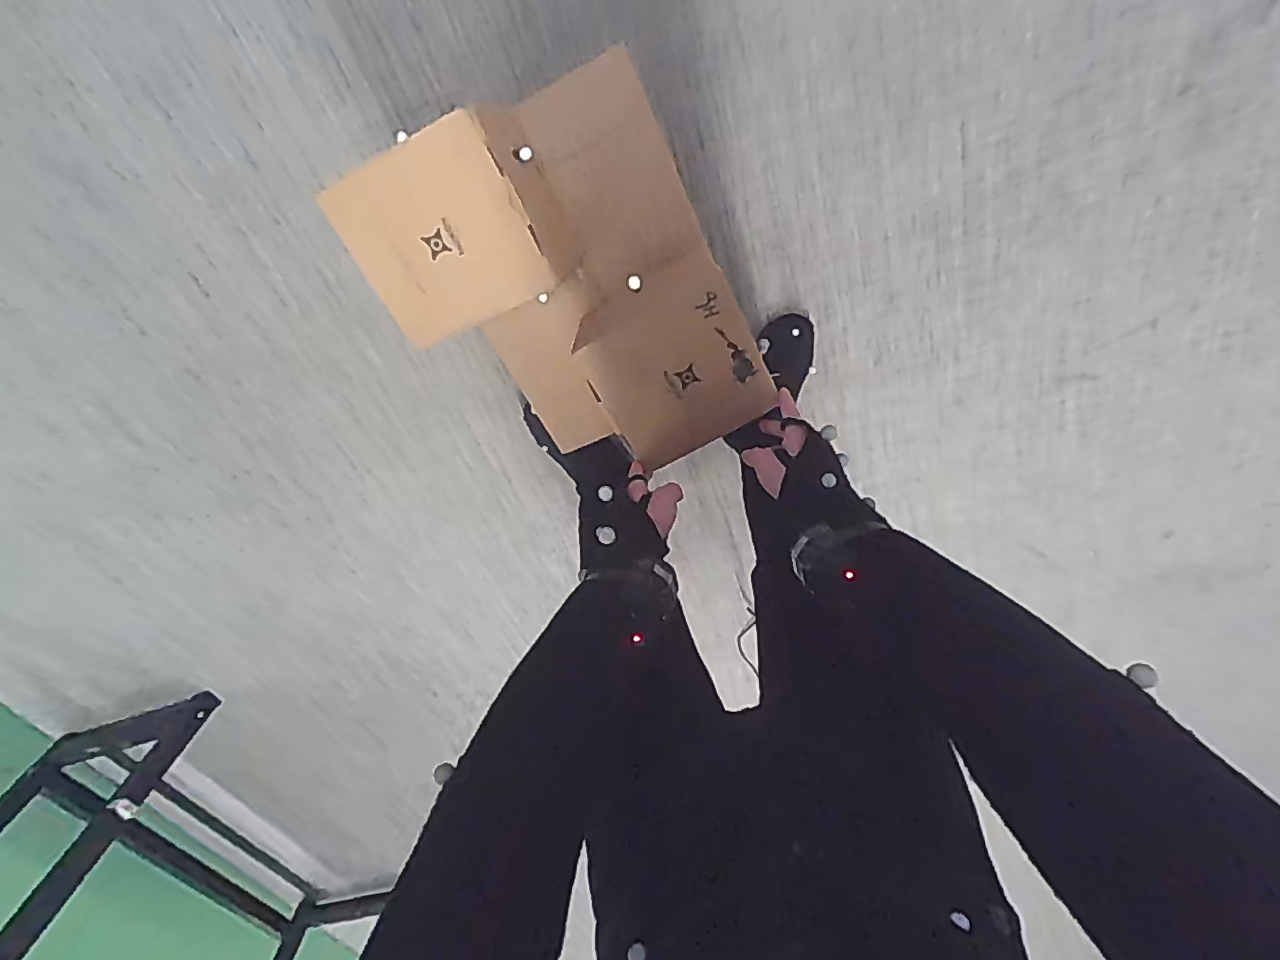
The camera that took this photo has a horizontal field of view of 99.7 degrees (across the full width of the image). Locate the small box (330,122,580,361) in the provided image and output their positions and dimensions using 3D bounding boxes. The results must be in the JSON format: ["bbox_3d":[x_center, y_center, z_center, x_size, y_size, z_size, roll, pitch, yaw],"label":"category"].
[{"bbox_3d":[-0.179,-0.260,0.591,0.179,0.176,0.168,-20,116,17],"label":"small box"}]
